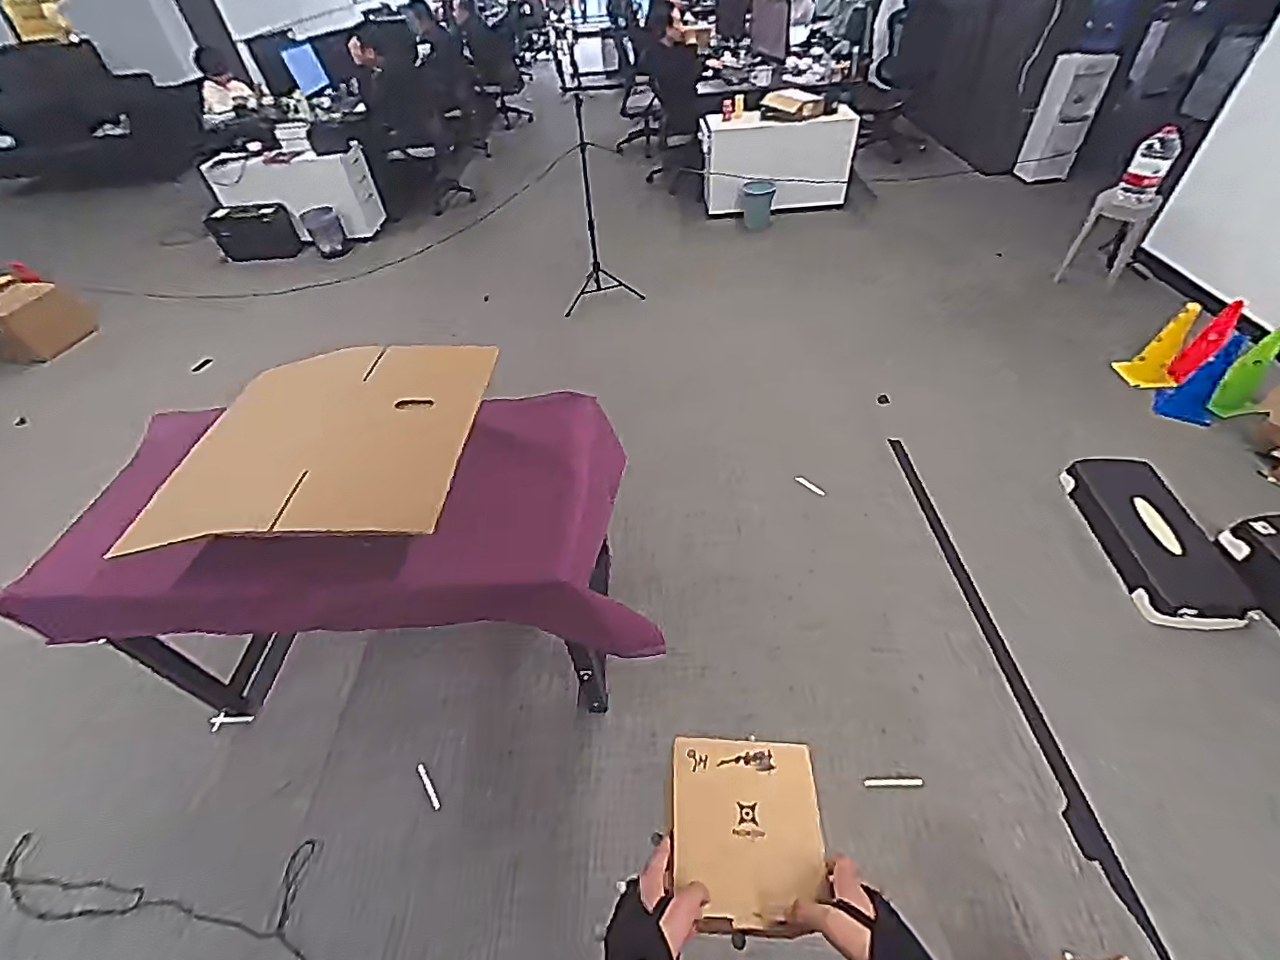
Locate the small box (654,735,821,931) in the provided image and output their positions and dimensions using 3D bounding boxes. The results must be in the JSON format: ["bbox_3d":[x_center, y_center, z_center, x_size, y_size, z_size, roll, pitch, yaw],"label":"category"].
[{"bbox_3d":[0.106,0.435,0.663,0.168,0.176,0.179,4,48,0],"label":"small box"}]
